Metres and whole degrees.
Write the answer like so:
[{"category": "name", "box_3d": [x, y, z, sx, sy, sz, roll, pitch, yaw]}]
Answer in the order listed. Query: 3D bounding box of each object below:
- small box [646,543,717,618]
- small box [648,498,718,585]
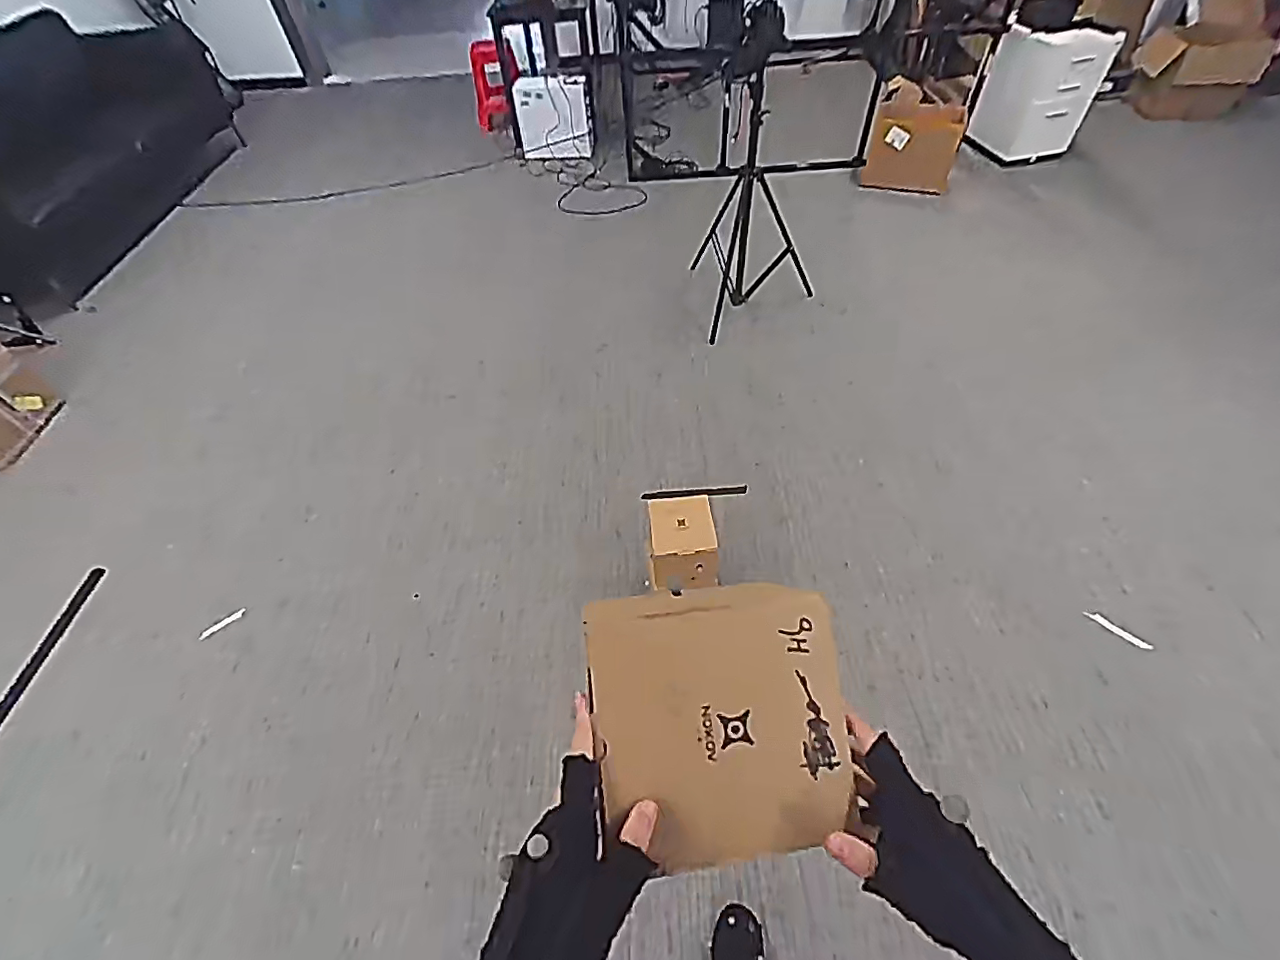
[{"category": "small box", "box_3d": [0.118, 0.285, 1.579, 0.179, 0.176, 0.168, -9, 51, -2]}, {"category": "small box", "box_3d": [0.113, 0.173, 1.460, 0.168, 0.176, 0.179, -5, 50, -2]}]
